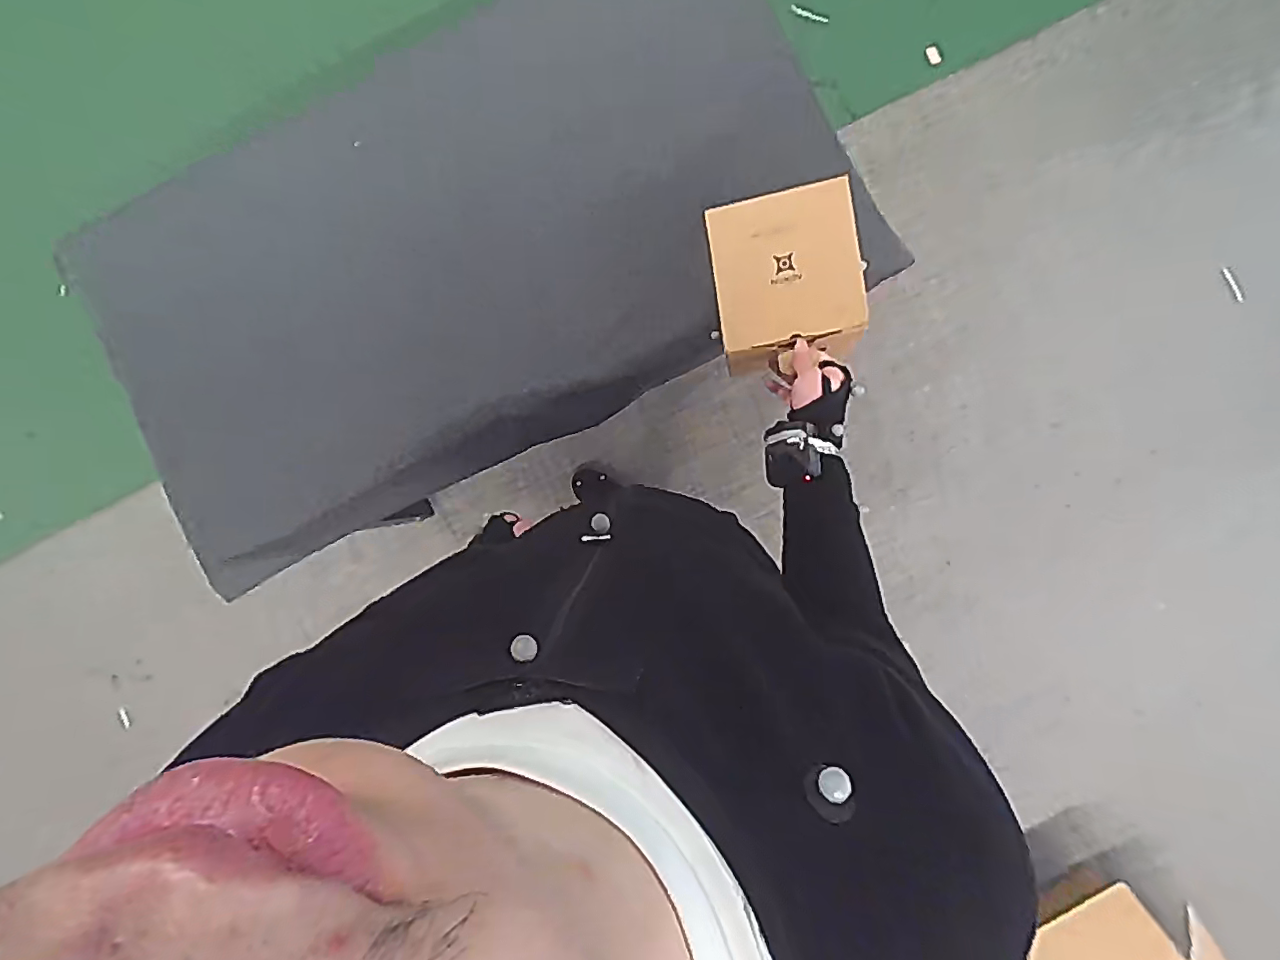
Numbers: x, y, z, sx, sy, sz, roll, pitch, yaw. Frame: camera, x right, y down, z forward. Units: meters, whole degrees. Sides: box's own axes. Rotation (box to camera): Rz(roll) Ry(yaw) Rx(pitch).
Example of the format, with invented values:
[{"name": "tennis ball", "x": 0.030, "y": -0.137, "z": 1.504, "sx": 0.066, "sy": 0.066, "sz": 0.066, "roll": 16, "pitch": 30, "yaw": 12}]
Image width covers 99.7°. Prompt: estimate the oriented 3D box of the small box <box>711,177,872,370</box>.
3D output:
[{"name": "small box", "x": 0.188, "y": -0.248, "z": 0.702, "sx": 0.168, "sy": 0.176, "sz": 0.179, "roll": -8, "pitch": 88, "yaw": 10}]
